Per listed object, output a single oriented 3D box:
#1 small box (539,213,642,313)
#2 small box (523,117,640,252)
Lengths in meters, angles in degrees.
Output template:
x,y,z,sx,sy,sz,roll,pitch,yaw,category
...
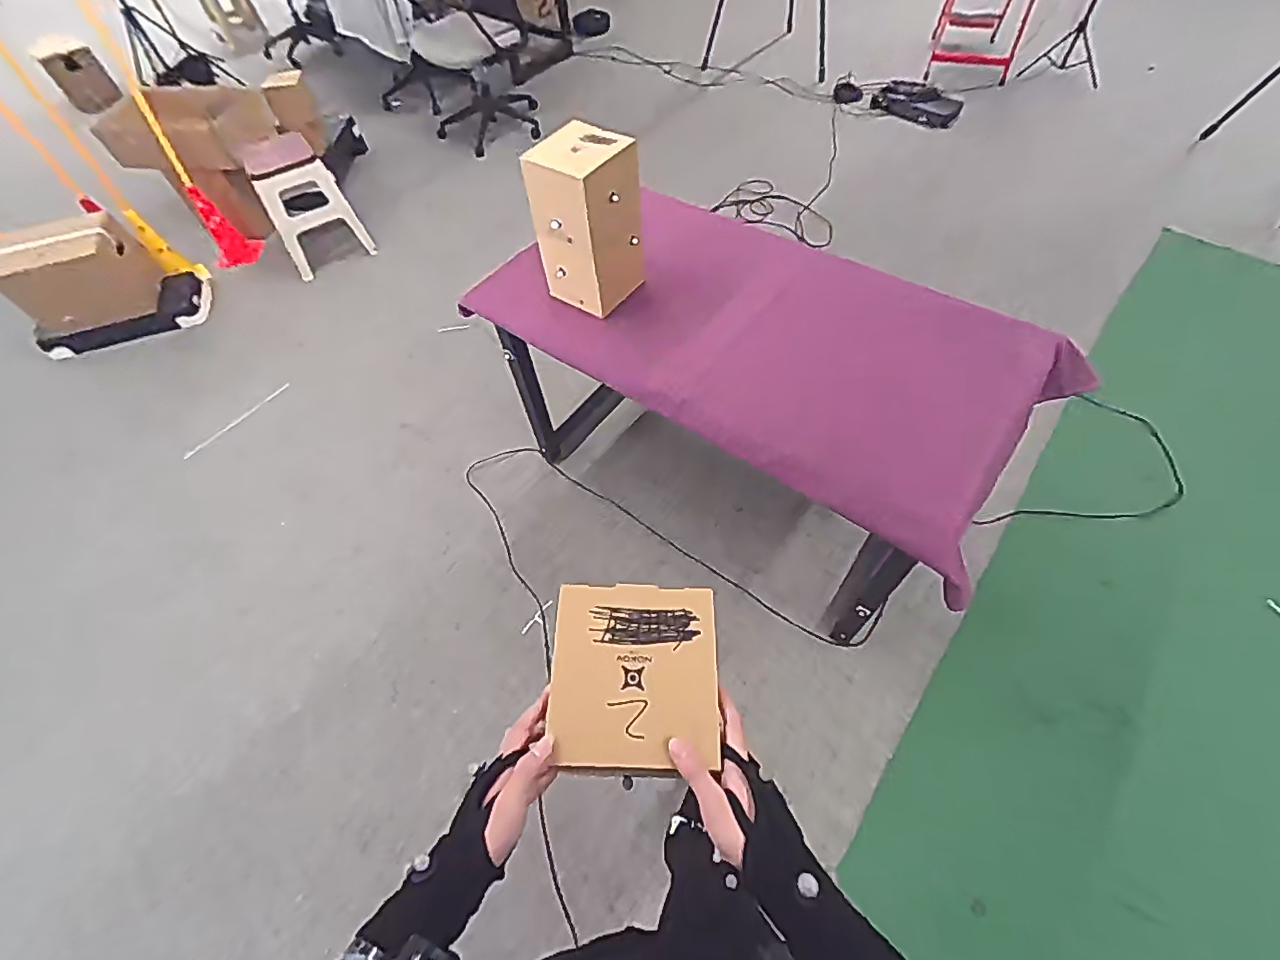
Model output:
x,y,z,sx,sy,sz,roll,pitch,yaw,category
-0.105,-0.524,1.268,0.168,0.176,0.179,30,63,21,small box
-0.113,-0.615,1.131,0.168,0.176,0.179,30,65,22,small box
